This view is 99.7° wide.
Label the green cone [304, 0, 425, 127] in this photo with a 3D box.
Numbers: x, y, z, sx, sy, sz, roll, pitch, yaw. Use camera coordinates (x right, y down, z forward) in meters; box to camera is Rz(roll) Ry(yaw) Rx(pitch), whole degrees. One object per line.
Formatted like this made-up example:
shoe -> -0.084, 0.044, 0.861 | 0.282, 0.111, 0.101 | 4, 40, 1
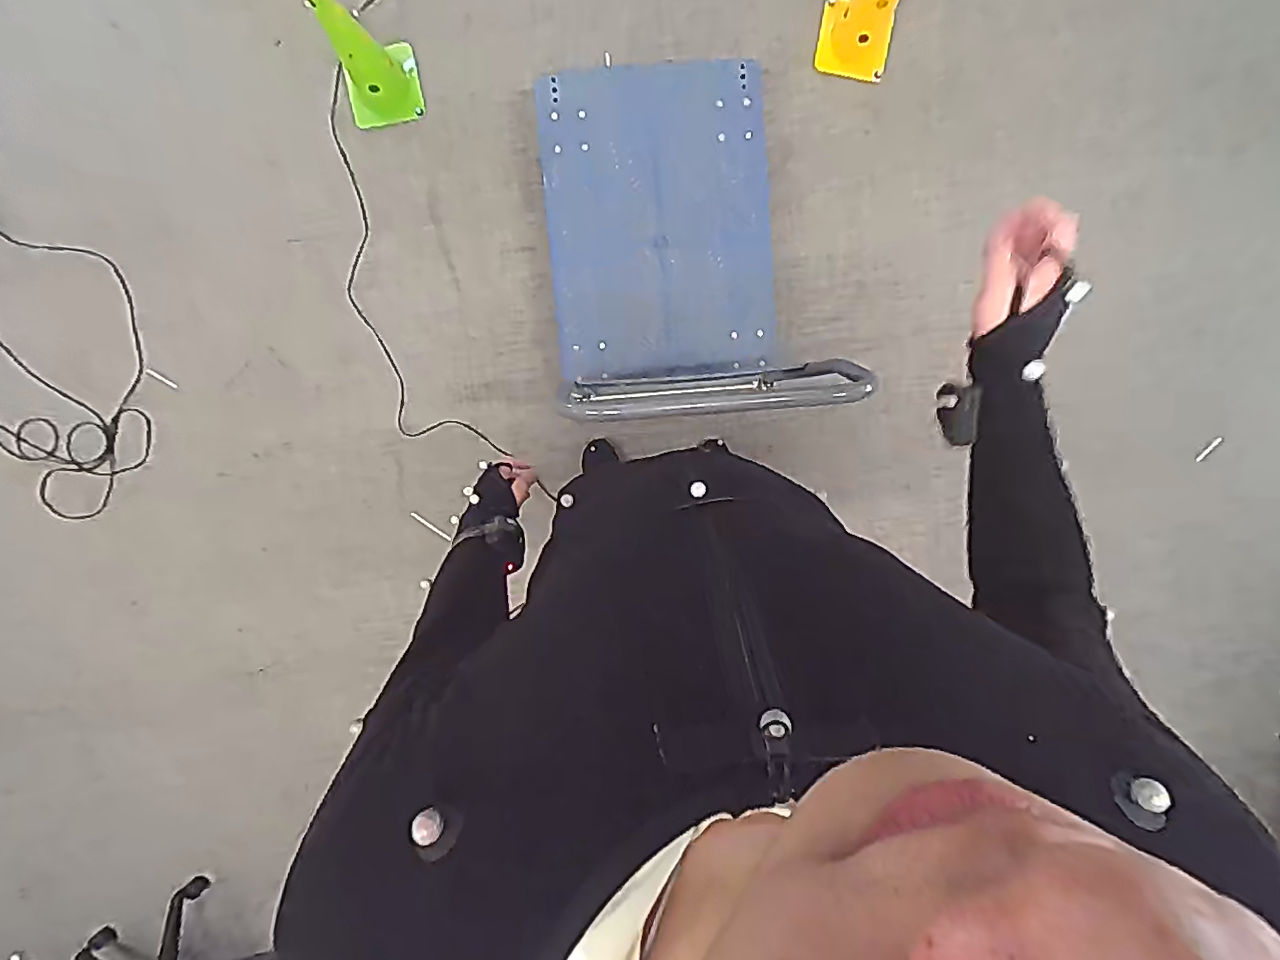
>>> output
green cone -> -0.716, -1.091, 1.338 | 0.202, 0.368, 0.200 | -11, 95, 2
